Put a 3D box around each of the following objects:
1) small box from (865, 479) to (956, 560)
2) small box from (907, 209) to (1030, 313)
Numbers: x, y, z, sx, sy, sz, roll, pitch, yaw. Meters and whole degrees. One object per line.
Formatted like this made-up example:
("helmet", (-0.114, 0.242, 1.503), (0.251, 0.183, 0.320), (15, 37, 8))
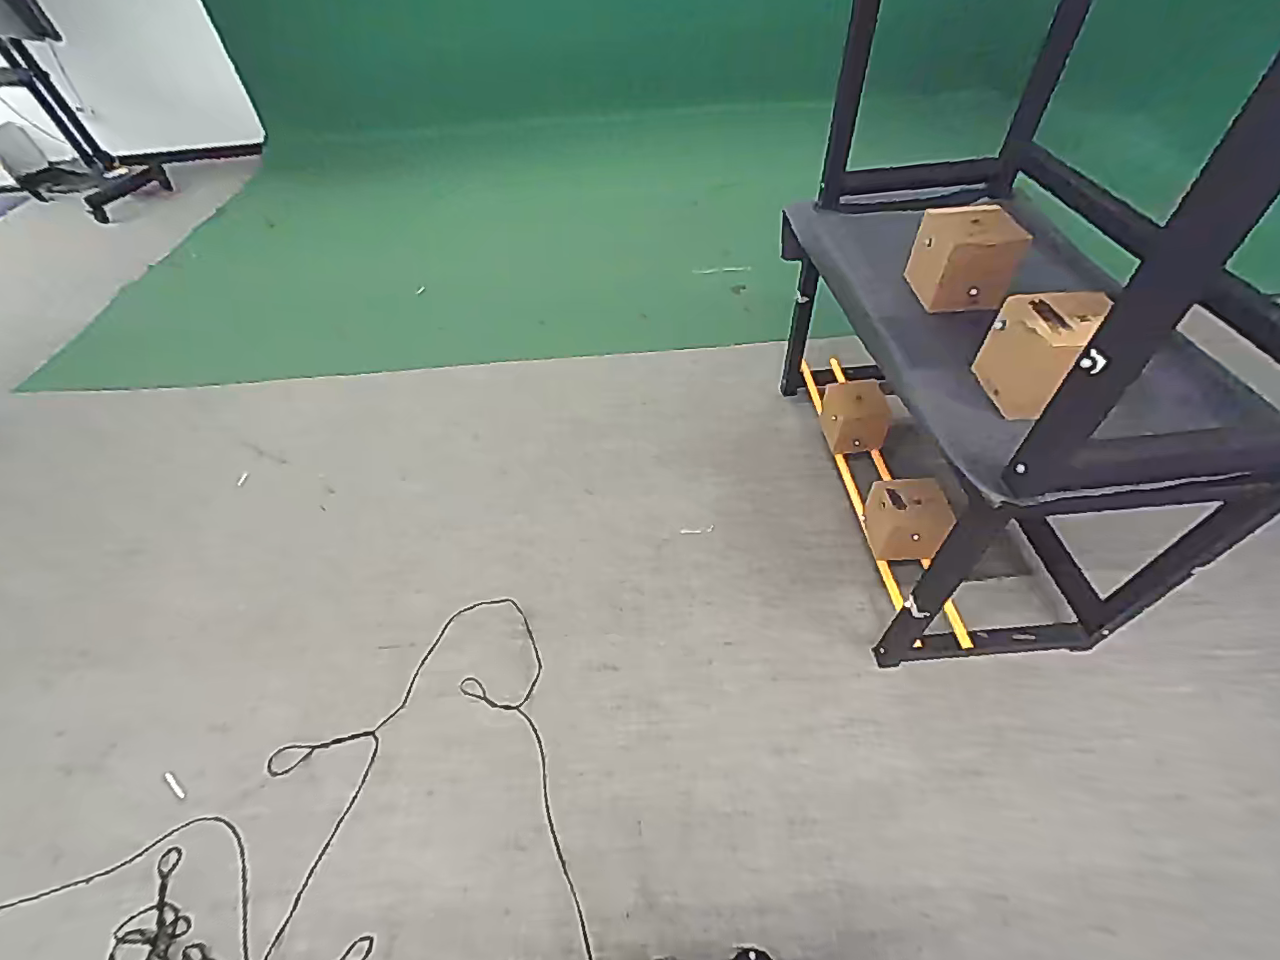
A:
("small box", (0.759, 0.116, 1.545), (0.179, 0.176, 0.168), (-2, 49, 3))
("small box", (0.752, -0.511, 1.263), (0.168, 0.176, 0.179), (-2, 49, 3))
